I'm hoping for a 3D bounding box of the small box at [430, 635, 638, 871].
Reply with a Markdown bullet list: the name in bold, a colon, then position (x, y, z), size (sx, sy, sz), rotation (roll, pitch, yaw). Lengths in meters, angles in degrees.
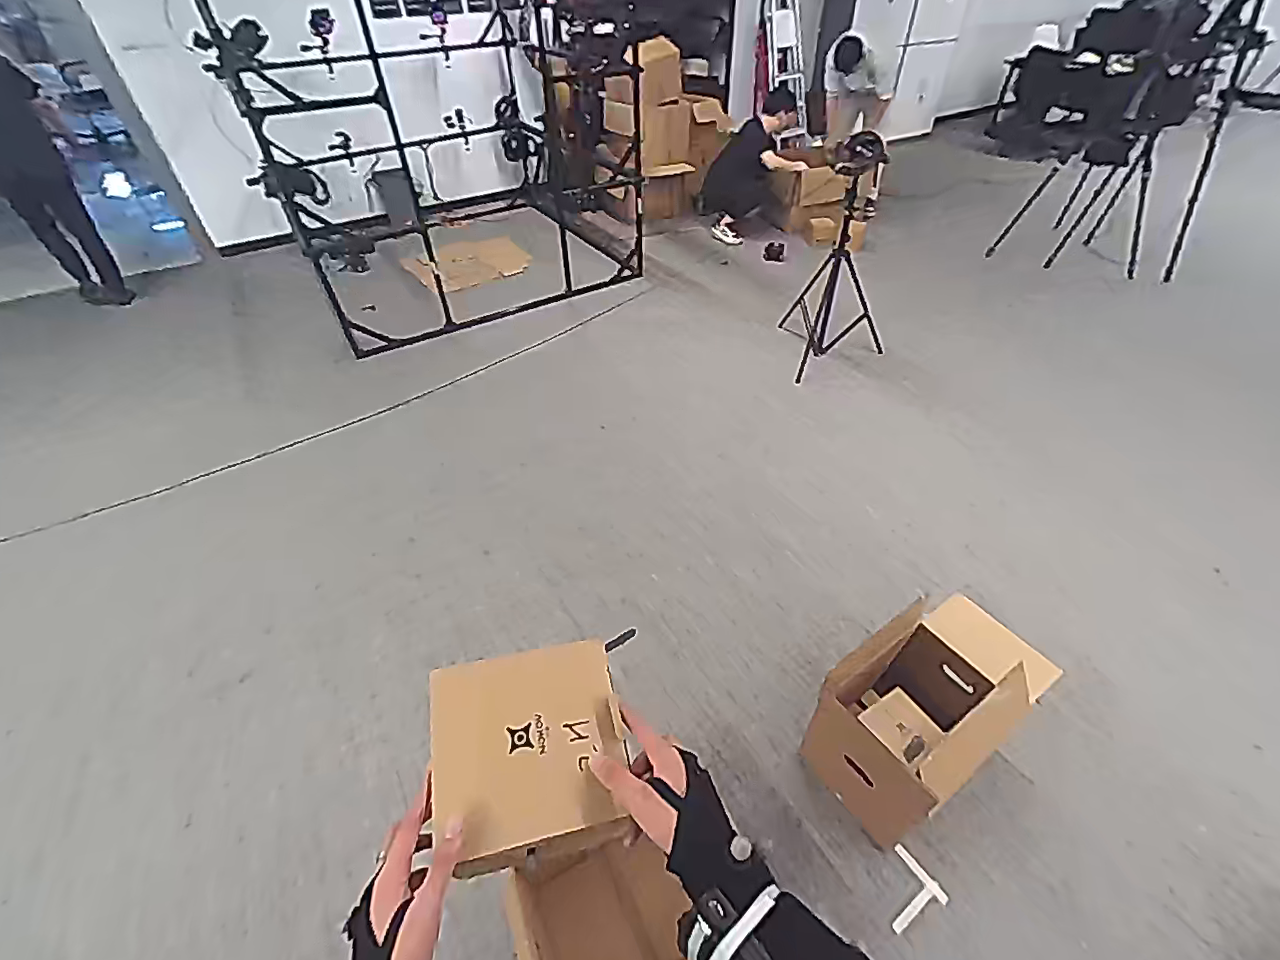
- **small box**: position (-0.110, 0.283, 0.559), size (0.179, 0.176, 0.168), rotation (-6, 53, -14)
